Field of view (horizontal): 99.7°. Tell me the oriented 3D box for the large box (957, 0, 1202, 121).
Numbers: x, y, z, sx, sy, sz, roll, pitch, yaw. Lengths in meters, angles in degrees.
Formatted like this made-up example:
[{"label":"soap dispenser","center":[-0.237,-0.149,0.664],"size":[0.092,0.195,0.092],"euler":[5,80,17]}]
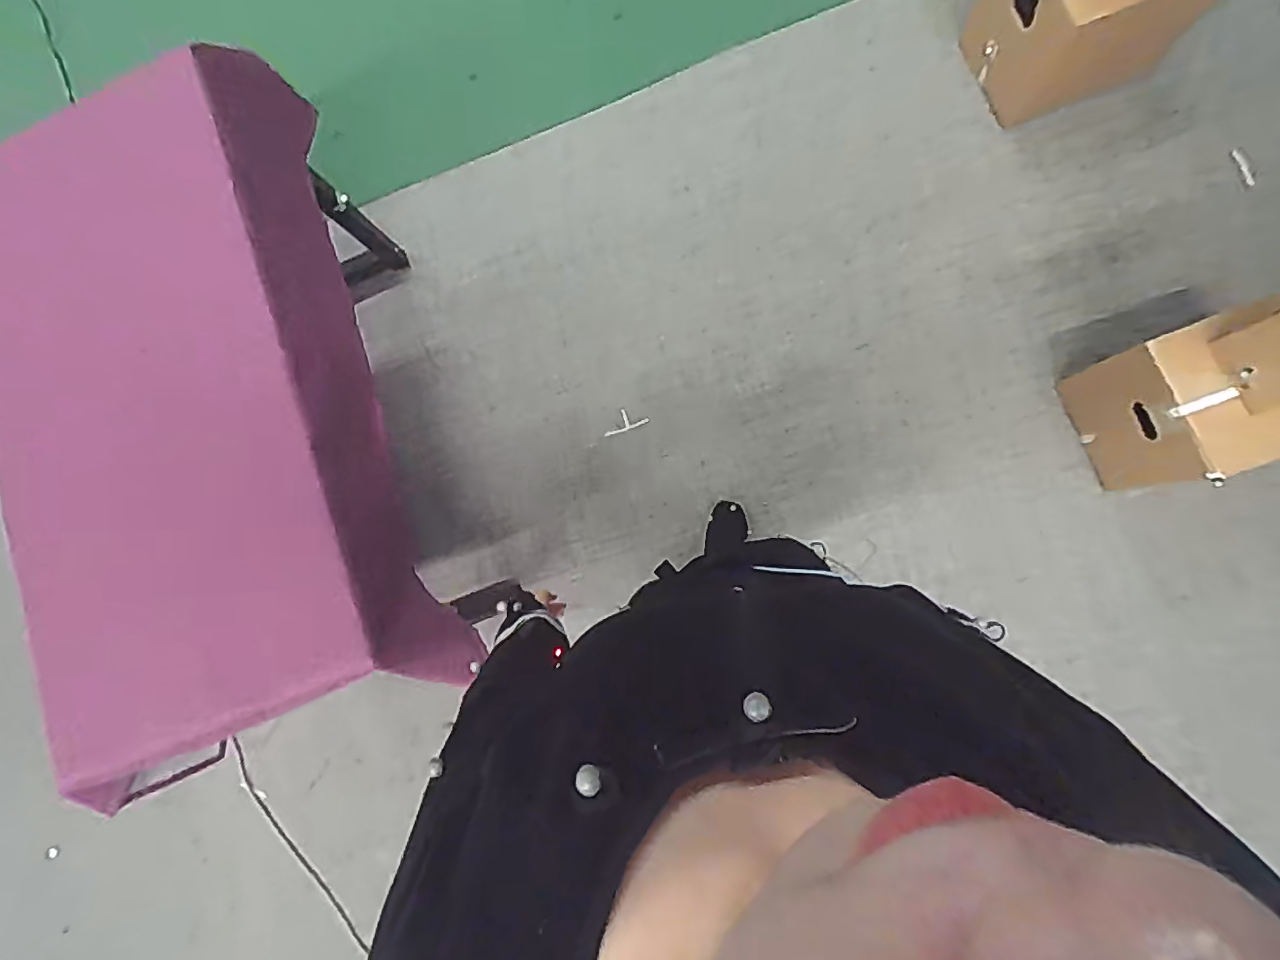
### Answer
[{"label":"large box","center":[1.112,-1.208,1.353],"size":[0.408,0.320,0.320],"euler":[-20,82,4]}]
